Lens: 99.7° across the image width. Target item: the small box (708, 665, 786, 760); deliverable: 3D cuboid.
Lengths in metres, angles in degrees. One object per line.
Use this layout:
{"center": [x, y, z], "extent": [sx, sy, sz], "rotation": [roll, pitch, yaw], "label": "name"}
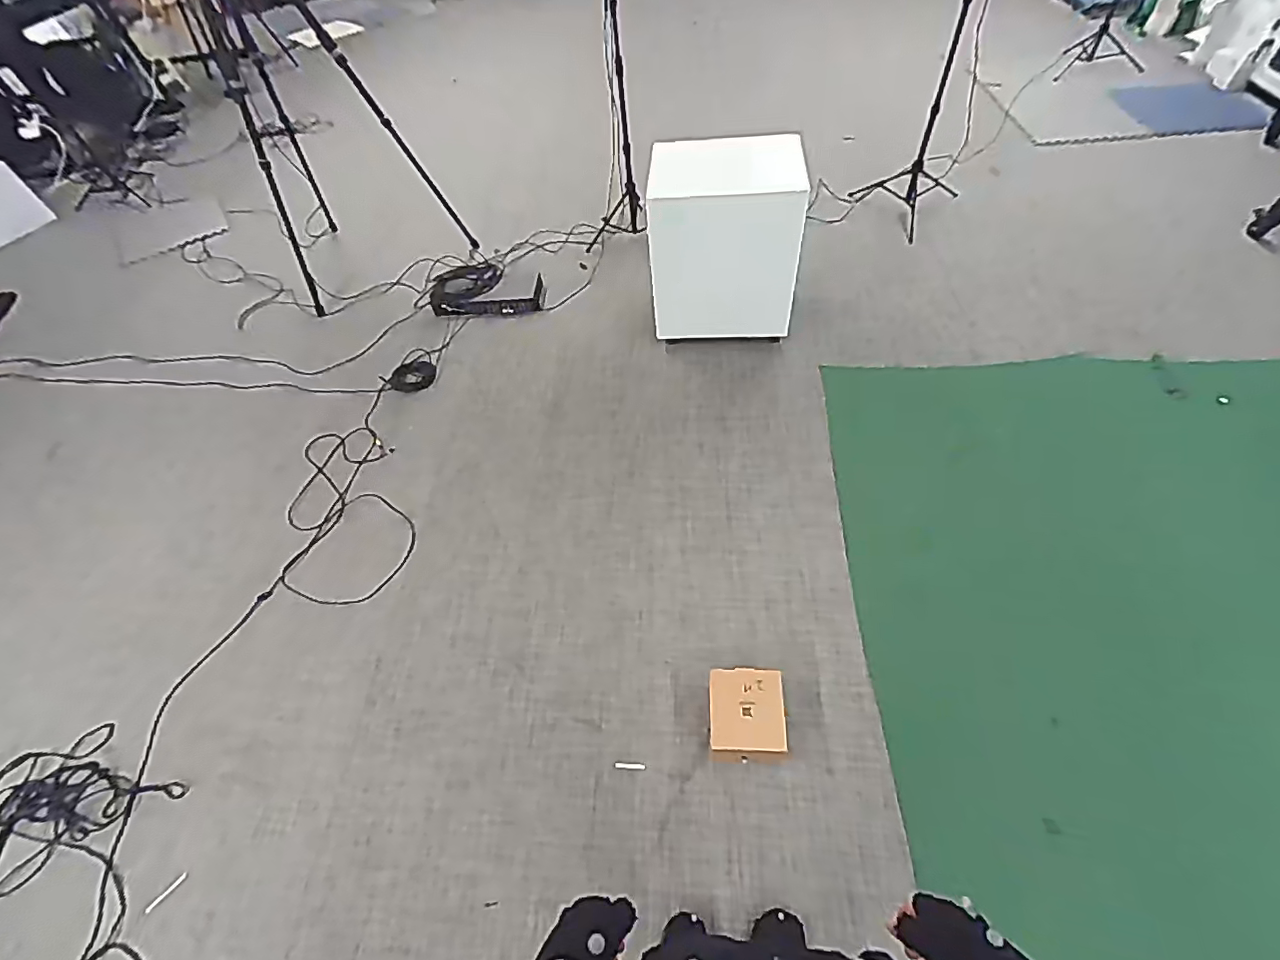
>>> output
{"center": [0.245, 0.551, 1.273], "extent": [0.168, 0.176, 0.179], "rotation": [0, 54, 5], "label": "small box"}
